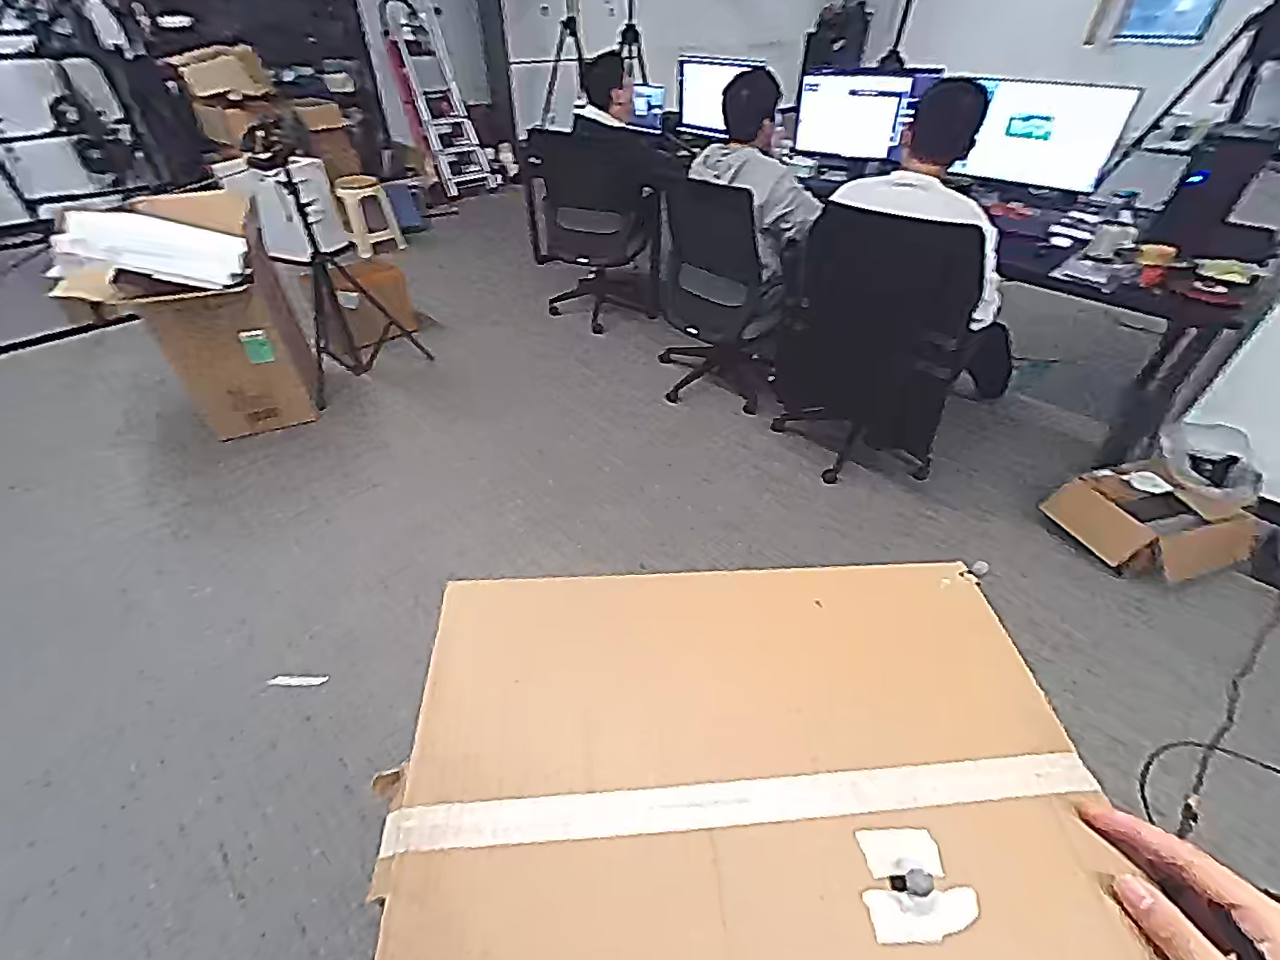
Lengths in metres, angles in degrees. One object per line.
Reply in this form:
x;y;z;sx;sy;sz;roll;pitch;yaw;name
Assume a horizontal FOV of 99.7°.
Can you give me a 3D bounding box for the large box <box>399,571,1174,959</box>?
0.061;0.295;0.426;0.408;0.320;0.320;-2;48;-7;large box
